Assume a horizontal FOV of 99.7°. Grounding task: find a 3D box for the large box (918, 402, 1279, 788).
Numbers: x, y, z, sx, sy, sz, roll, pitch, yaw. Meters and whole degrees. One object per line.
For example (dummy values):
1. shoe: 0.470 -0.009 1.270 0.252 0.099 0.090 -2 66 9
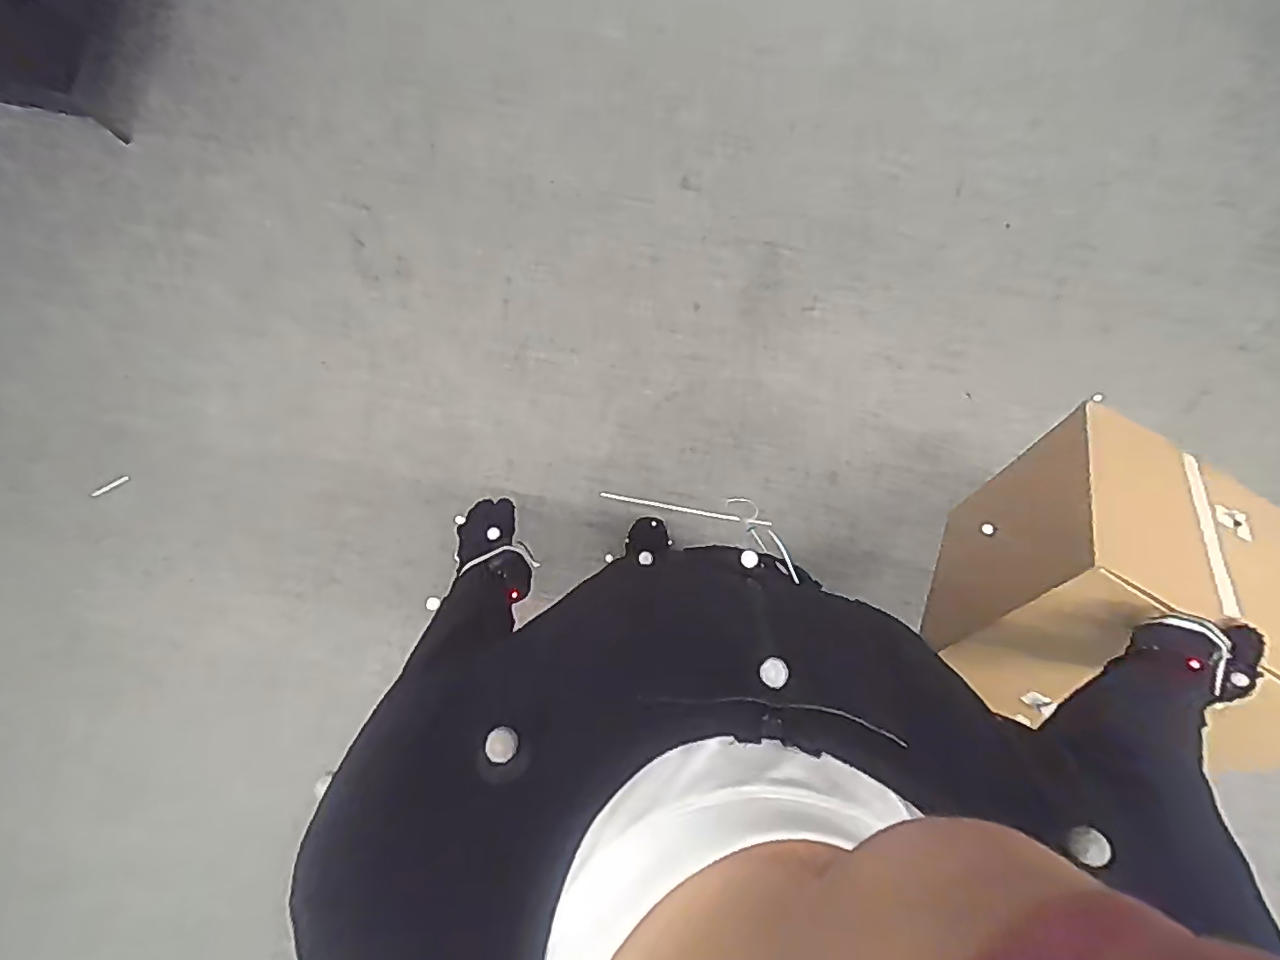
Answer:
1. large box: 0.677 0.160 0.815 0.320 0.320 0.408 36 48 8
